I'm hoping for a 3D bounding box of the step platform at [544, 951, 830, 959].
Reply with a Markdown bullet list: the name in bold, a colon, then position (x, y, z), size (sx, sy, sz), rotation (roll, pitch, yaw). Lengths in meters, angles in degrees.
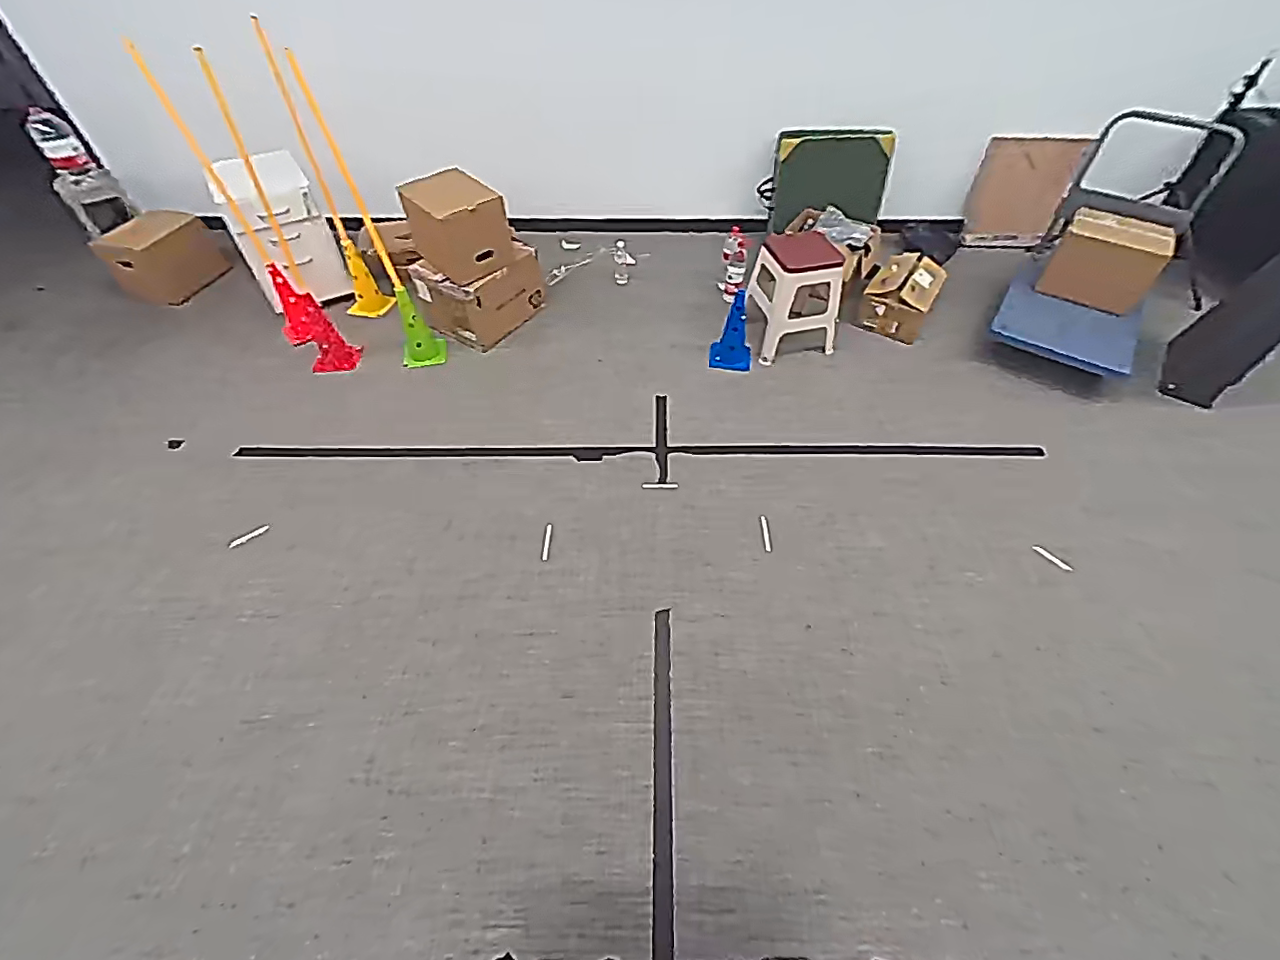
- **step platform**: position (0.091, 1.144, 1.084), size (0.684, 0.204, 0.286), rotation (0, 50, -2)
